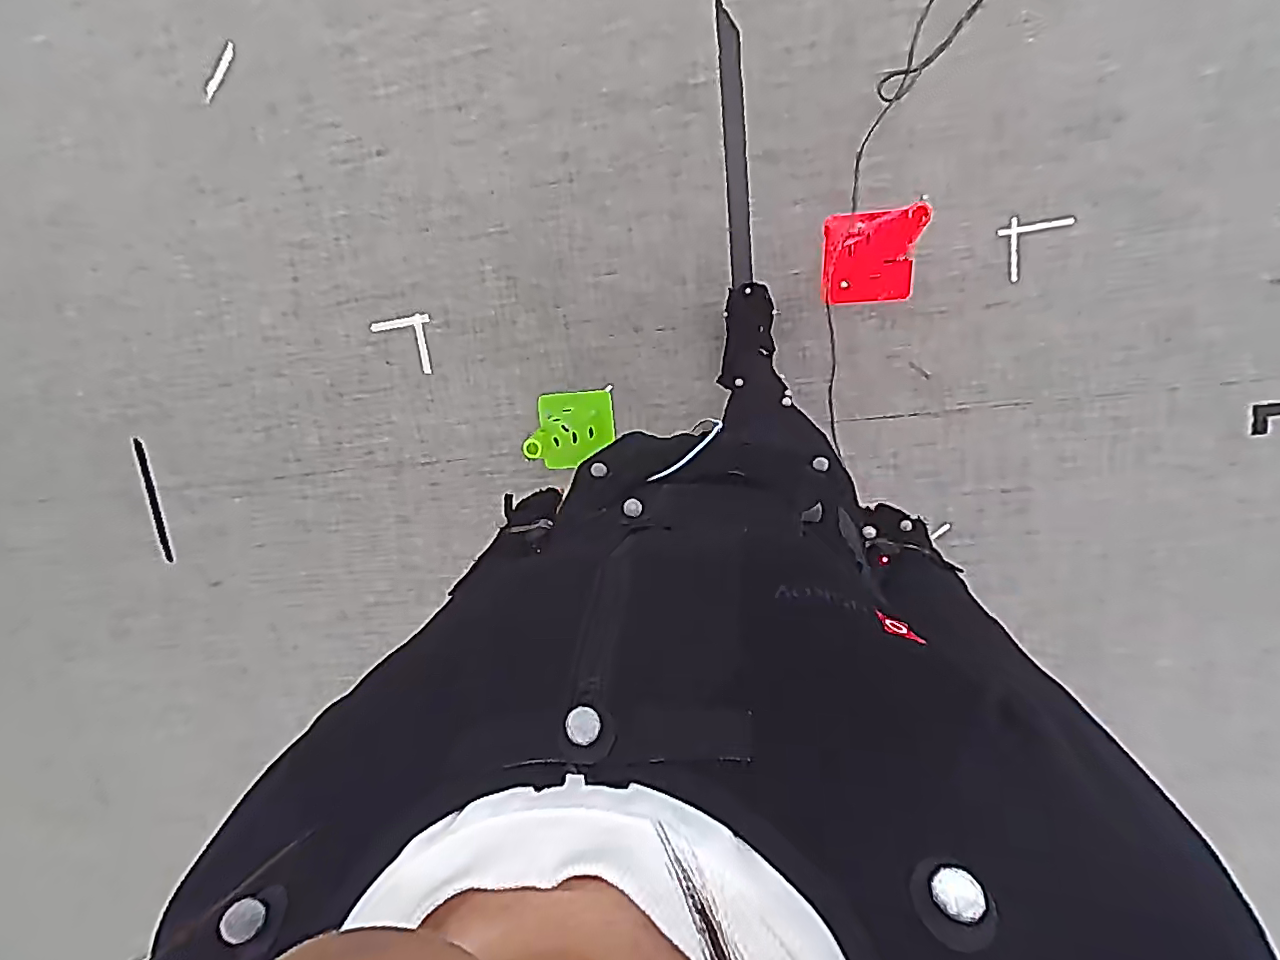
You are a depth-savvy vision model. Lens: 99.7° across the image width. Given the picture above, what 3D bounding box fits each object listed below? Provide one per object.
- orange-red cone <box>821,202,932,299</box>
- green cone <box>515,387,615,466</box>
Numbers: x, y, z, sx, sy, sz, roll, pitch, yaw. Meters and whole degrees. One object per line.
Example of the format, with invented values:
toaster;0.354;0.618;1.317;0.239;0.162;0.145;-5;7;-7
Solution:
orange-red cone;0.501;-0.487;1.081;0.199;0.360;0.198;0;102;8
green cone;-0.198;-0.108;1.257;0.202;0.368;0.200;-4;100;11
